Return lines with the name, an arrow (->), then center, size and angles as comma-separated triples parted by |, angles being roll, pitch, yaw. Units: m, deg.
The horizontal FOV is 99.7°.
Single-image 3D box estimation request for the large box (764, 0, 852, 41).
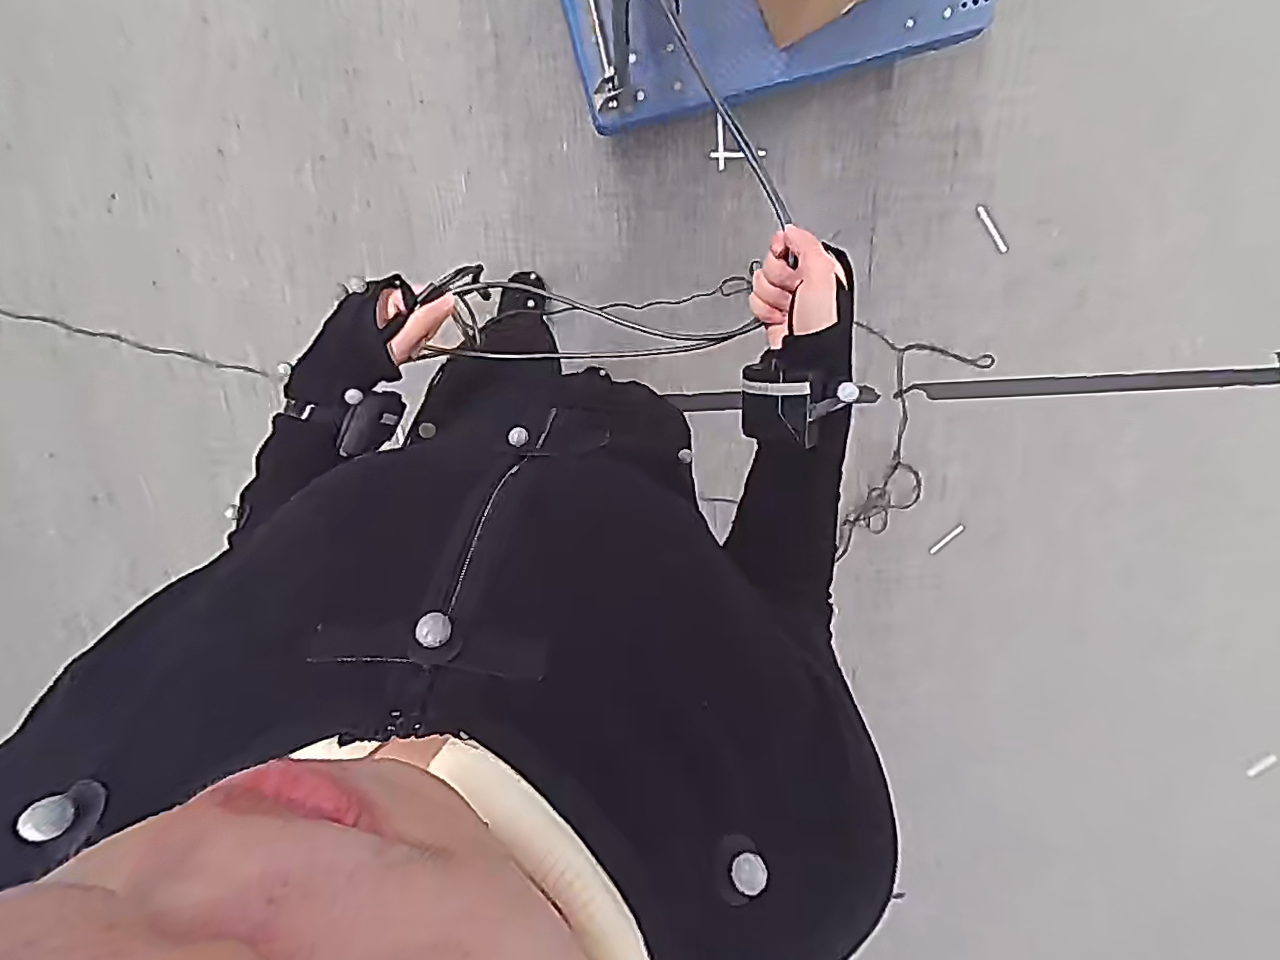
large box -> 0.334, -1.090, 0.900 | 0.320, 0.320, 0.408 | -29, 106, 5
